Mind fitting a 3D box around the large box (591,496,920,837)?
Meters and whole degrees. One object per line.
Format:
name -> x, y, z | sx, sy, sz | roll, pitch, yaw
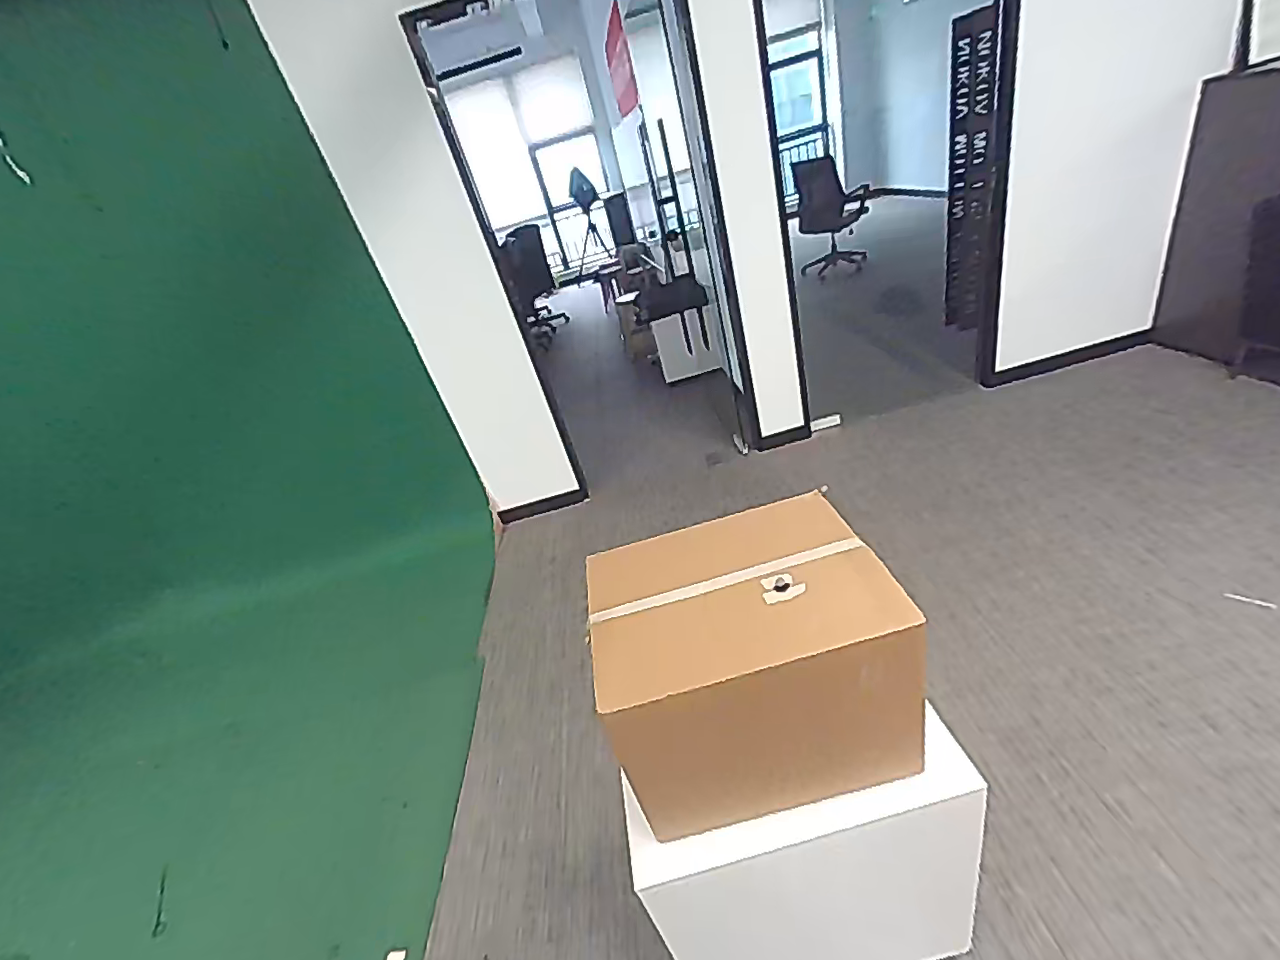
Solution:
large box -> 0.161, 0.276, 0.845 | 0.408, 0.320, 0.320 | -15, 30, 0
